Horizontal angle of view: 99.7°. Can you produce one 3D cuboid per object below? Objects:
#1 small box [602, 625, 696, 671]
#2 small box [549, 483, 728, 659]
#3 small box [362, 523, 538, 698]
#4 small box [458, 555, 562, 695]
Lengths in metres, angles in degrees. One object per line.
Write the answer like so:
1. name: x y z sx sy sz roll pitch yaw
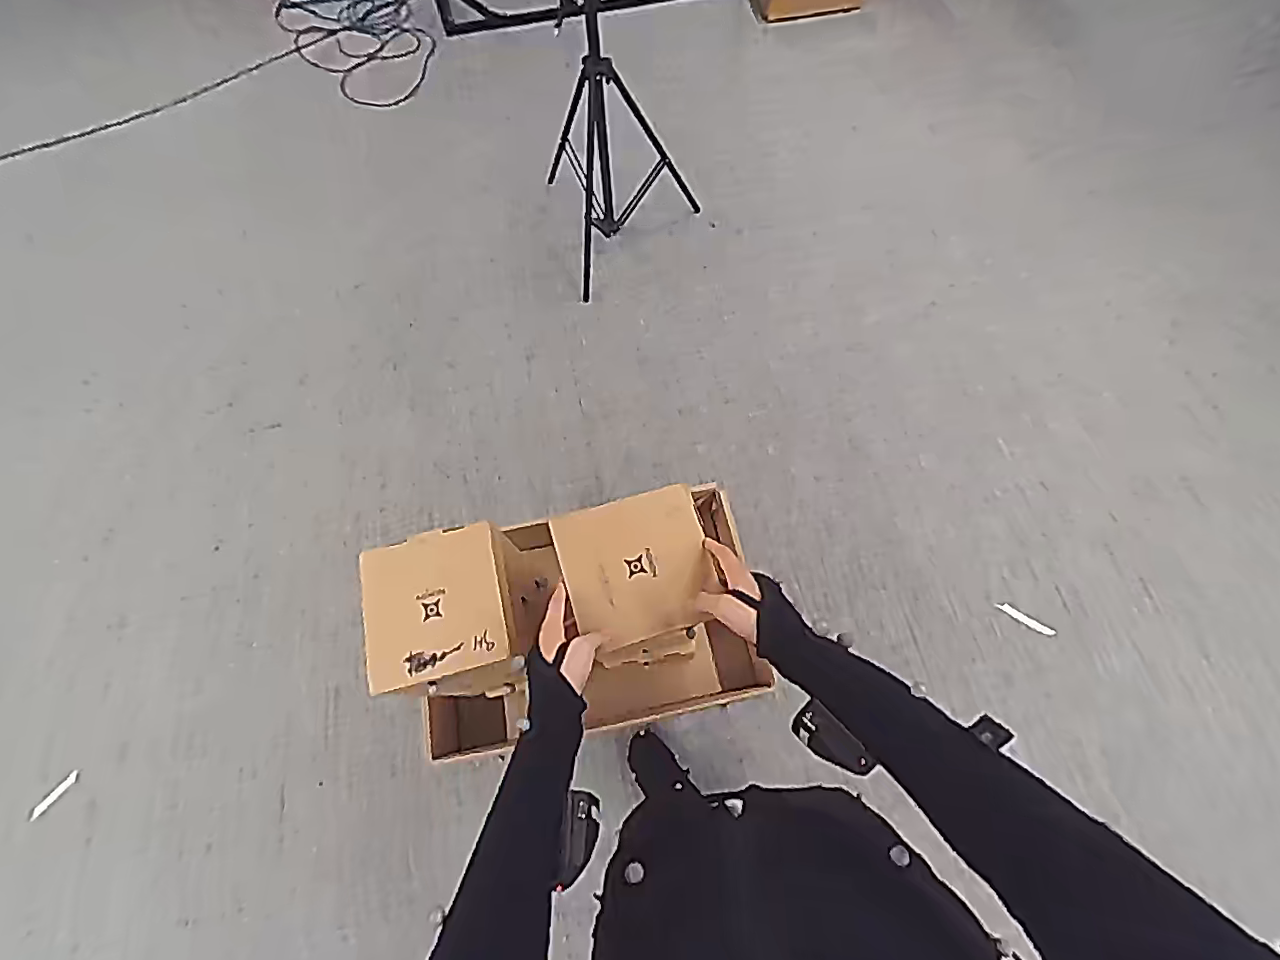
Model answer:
1. small box: 0.008 0.261 1.034 0.168 0.176 0.179 -10 69 0
2. small box: -0.009 0.122 0.699 0.179 0.176 0.168 -16 73 -8
3. small box: -0.245 0.181 0.719 0.168 0.176 0.179 -15 67 -2
4. small box: -0.232 0.240 0.874 0.168 0.176 0.179 -14 69 -3
